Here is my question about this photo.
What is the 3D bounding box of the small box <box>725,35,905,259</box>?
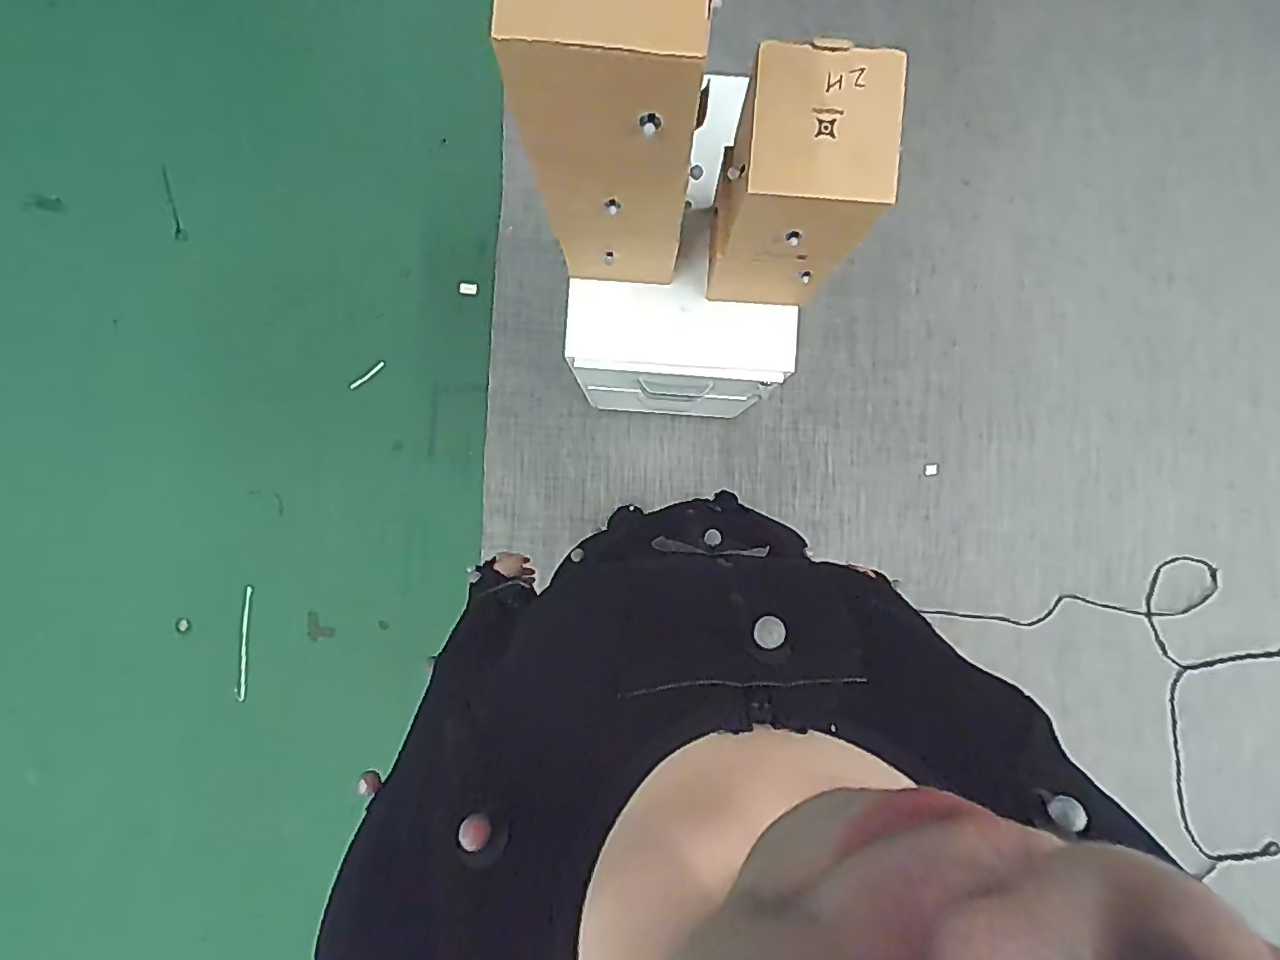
[{"bbox_3d":[0.204,-0.398,0.676,0.168,0.176,0.179,5,89,0],"label":"small box"}]

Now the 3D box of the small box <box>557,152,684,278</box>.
[{"bbox_3d":[-0.027,-0.429,0.841,0.179,0.176,0.168,3,90,-1],"label":"small box"}]

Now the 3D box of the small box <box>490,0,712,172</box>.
[{"bbox_3d":[-0.028,-0.422,0.512,0.179,0.176,0.168,4,88,0],"label":"small box"}]
